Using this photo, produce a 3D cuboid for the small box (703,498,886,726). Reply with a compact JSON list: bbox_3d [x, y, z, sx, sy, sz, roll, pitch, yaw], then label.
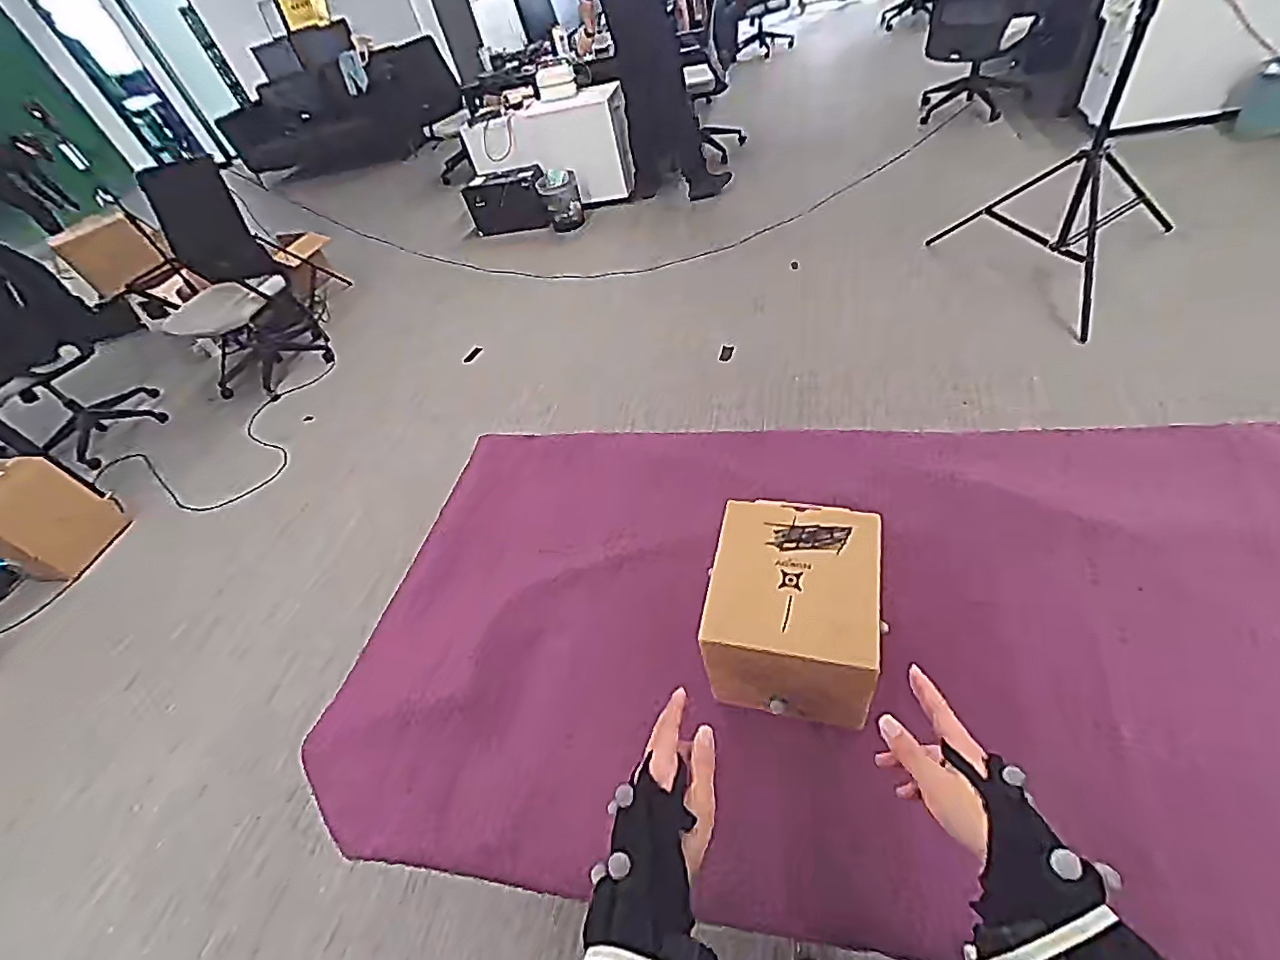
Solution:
[{"bbox_3d":[0.175,0.145,0.606,0.168,0.176,0.179,5,50,20],"label":"small box"}]
